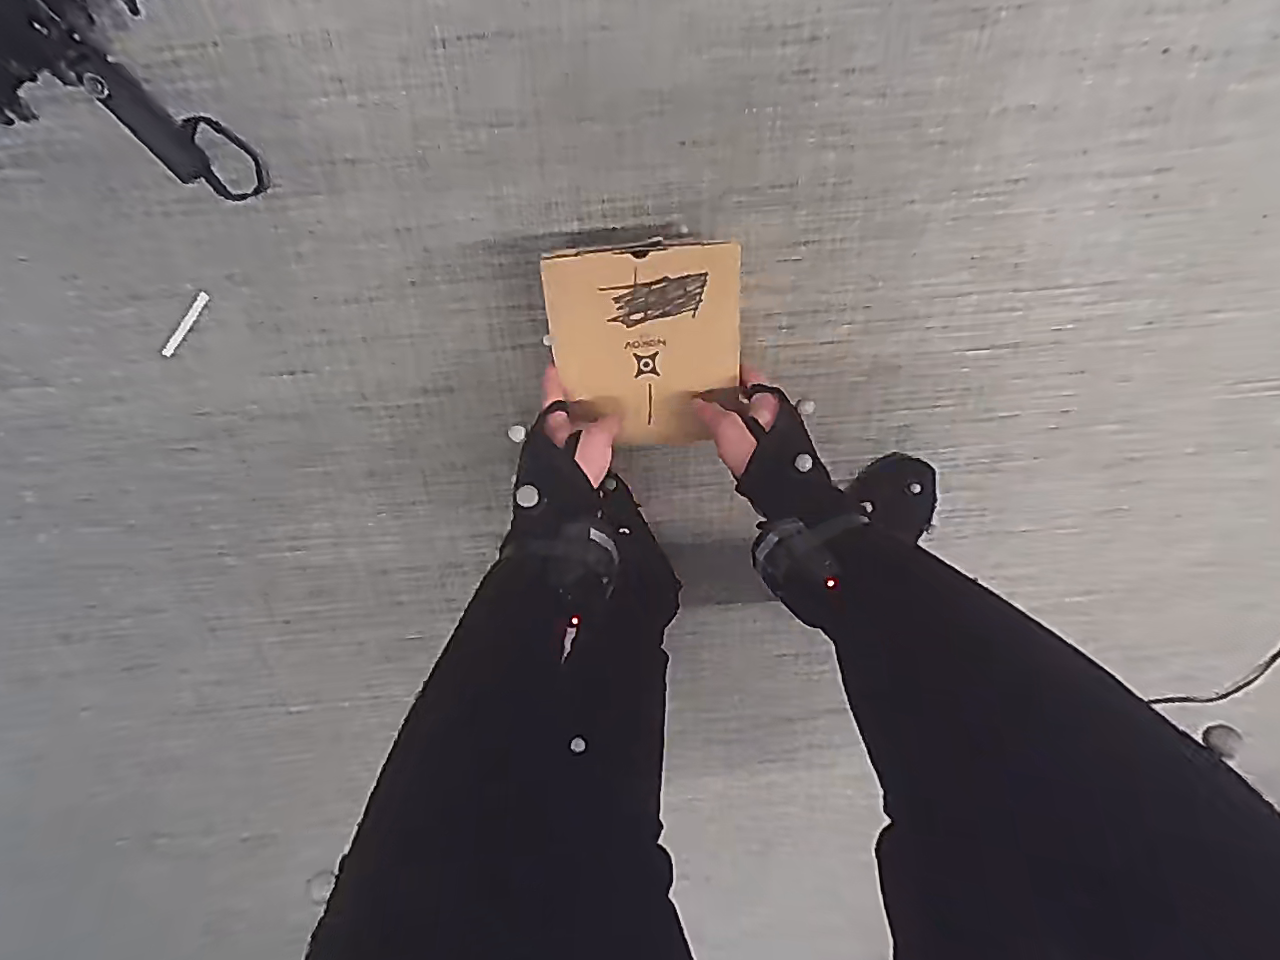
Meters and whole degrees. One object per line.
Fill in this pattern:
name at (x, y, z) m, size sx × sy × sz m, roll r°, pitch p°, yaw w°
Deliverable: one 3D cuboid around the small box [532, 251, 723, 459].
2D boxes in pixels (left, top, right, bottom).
small box at (-0.008, -0.139, 0.564) m, size 0.168 × 0.176 × 0.179 m, roll -5°, pitch 117°, yaw 2°
